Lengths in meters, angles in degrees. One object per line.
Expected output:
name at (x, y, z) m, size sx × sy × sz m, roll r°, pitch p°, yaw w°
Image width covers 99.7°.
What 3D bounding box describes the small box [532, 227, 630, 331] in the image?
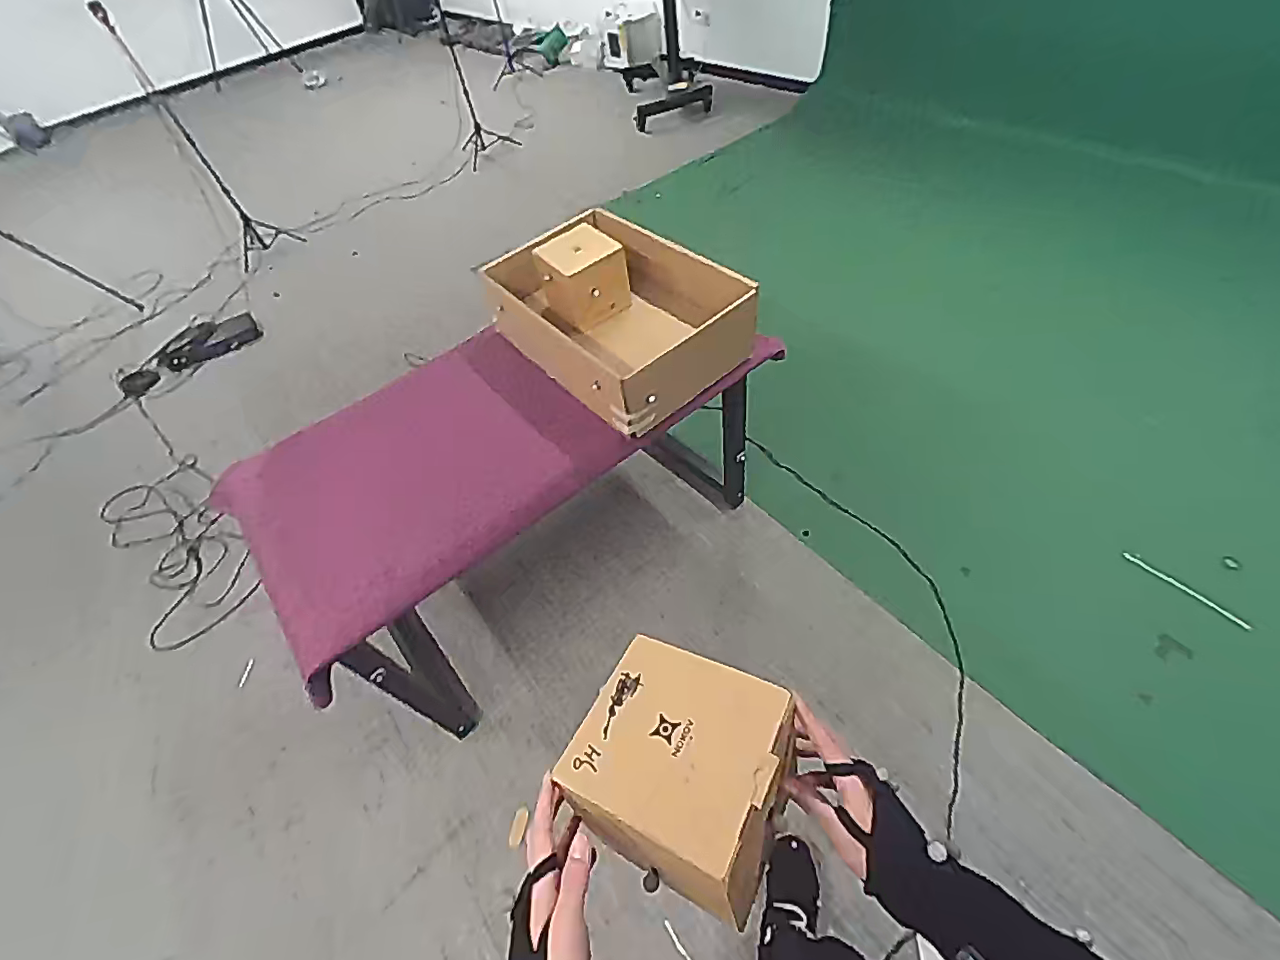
small box at (-0.144, -0.510, 1.388) m, size 0.168 × 0.176 × 0.179 m, roll -35°, pitch 55°, yaw -15°
